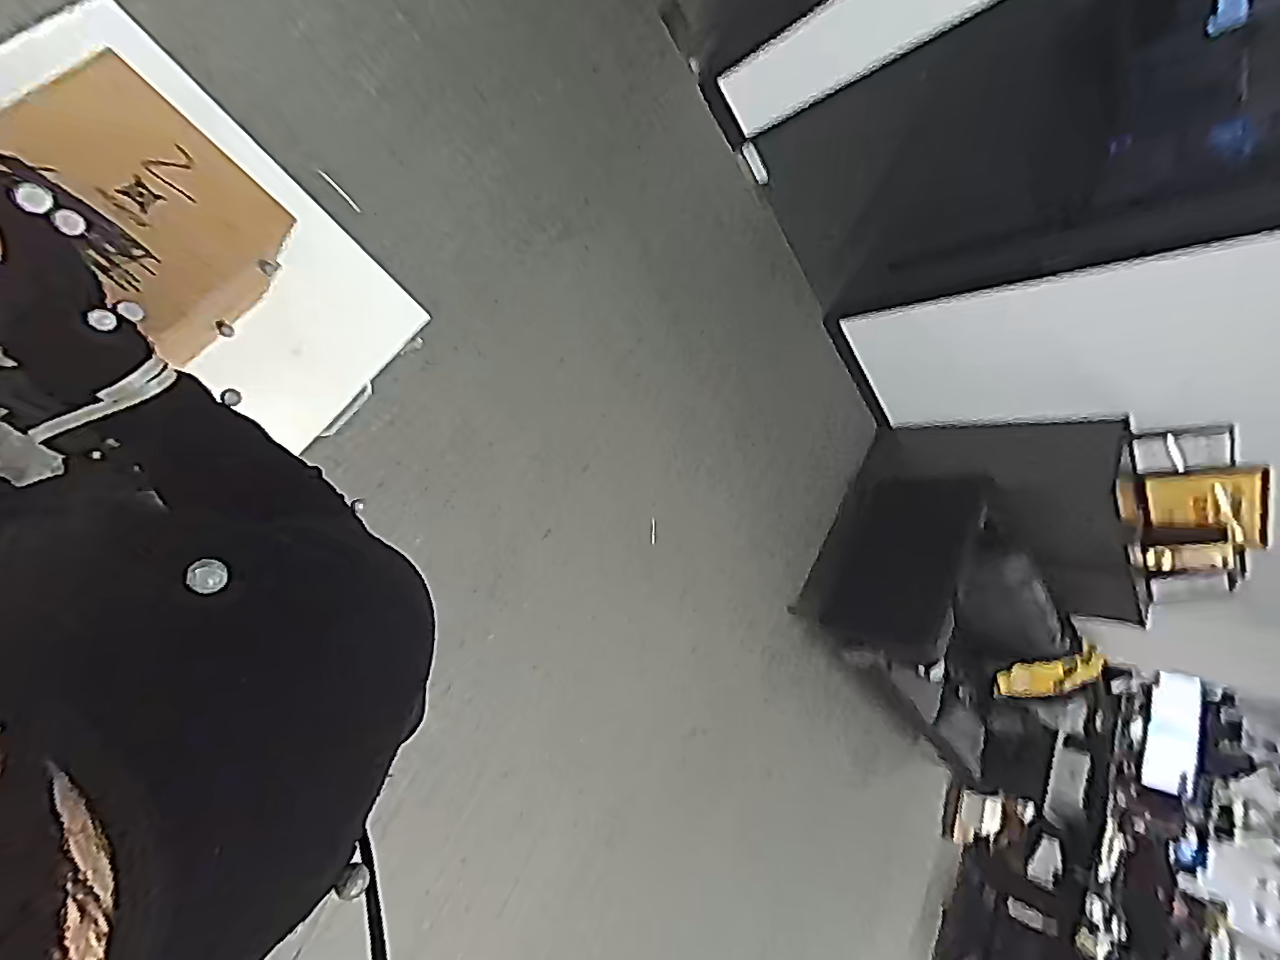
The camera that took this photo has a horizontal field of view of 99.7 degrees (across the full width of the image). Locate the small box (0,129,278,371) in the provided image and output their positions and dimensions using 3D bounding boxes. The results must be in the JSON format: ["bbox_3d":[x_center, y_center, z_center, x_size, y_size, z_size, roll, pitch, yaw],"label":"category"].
[{"bbox_3d":[-0.567,-0.248,0.620,0.168,0.176,0.179,48,62,-32],"label":"small box"}]
